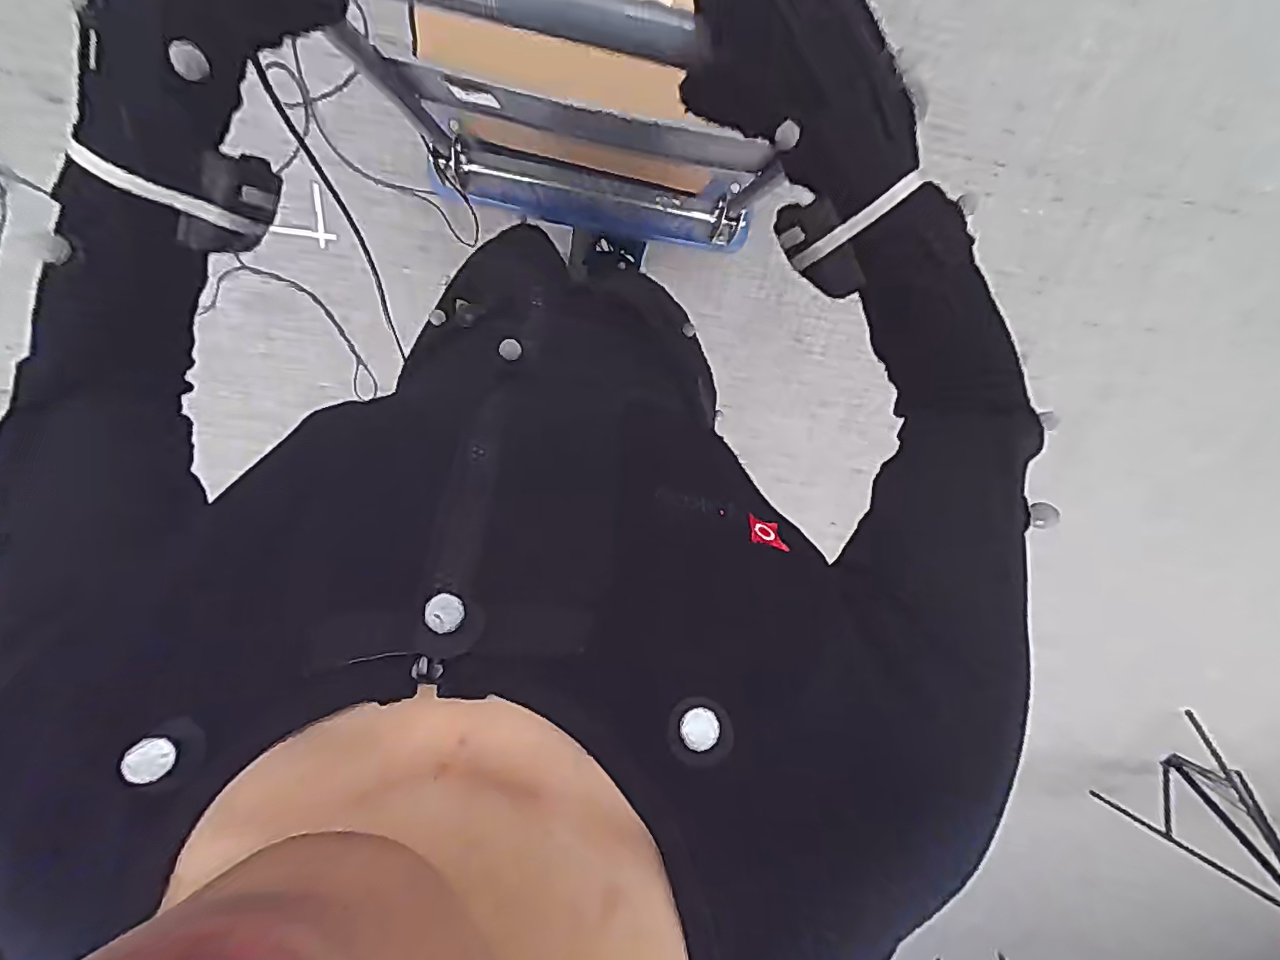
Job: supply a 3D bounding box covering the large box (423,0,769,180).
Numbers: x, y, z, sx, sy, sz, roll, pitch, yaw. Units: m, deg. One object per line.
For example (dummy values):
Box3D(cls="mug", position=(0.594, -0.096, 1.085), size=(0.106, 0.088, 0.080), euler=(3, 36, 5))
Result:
Box3D(cls="large box", position=(-0.051, -0.660, 0.760), size=(0.408, 0.320, 0.320), euler=(9, 108, -8))
